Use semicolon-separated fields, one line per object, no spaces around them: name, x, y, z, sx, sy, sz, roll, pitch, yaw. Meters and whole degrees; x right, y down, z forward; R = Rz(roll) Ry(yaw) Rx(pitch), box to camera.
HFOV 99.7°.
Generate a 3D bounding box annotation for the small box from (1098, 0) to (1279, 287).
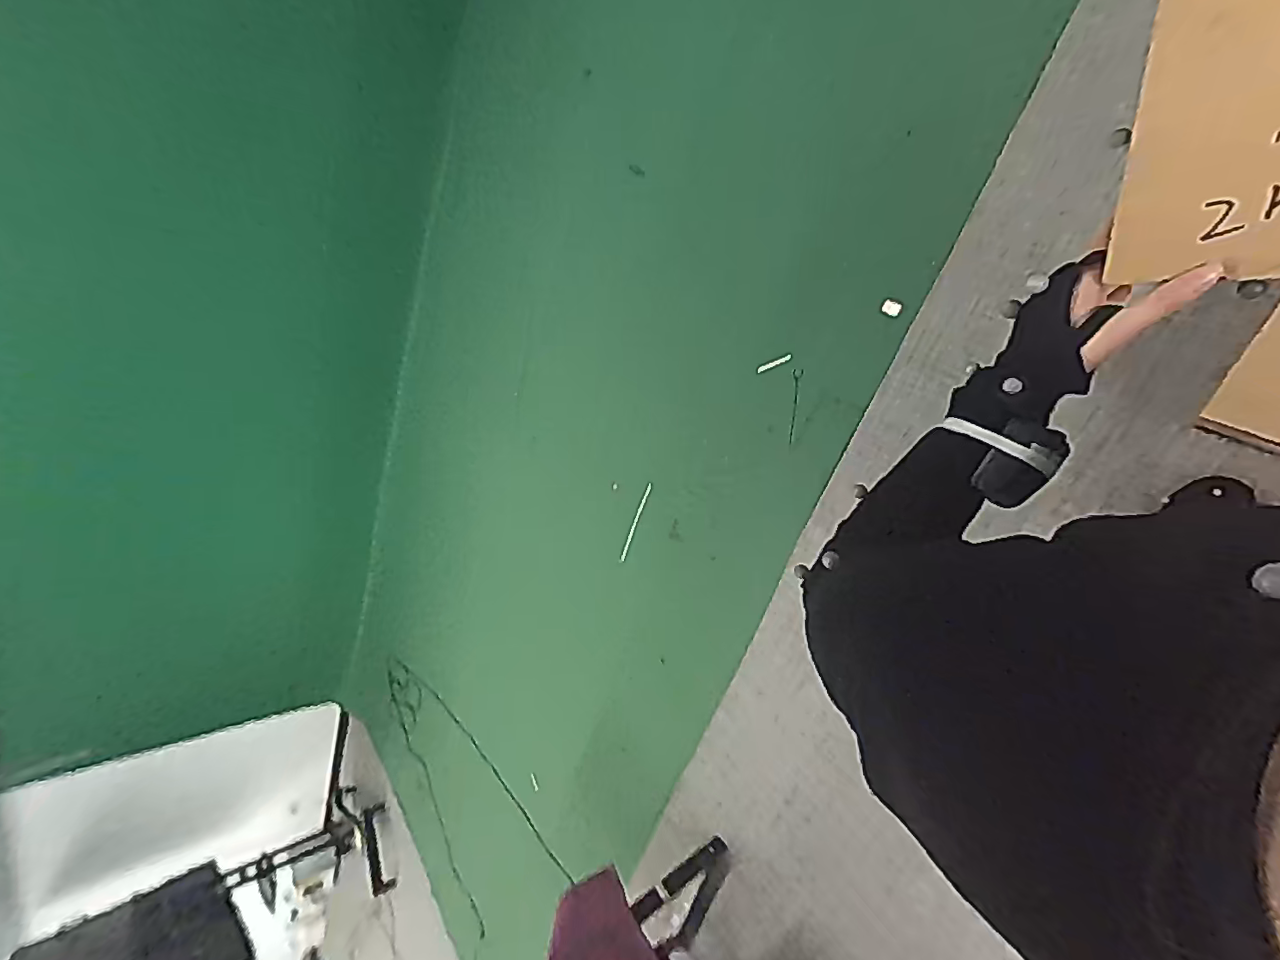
small box;0.431;-0.226;0.358;0.168;0.176;0.179;13;116;41
